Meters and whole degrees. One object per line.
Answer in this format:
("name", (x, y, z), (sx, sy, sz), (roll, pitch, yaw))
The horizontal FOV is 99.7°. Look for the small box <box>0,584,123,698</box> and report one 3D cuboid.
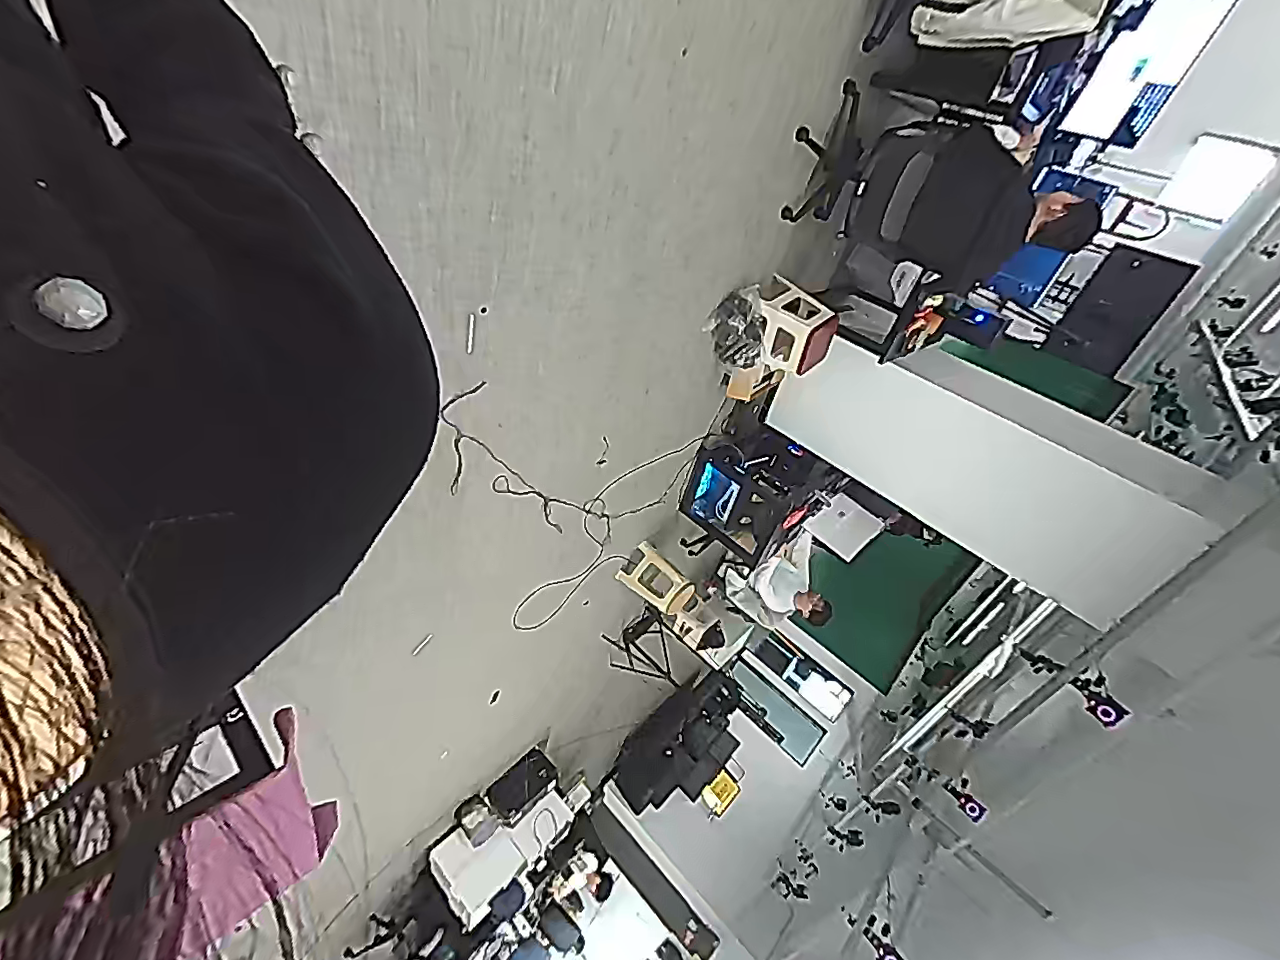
("small box", (-1.438, 0.389, 1.338), (0.179, 0.176, 0.168), (-23, 140, -44))
